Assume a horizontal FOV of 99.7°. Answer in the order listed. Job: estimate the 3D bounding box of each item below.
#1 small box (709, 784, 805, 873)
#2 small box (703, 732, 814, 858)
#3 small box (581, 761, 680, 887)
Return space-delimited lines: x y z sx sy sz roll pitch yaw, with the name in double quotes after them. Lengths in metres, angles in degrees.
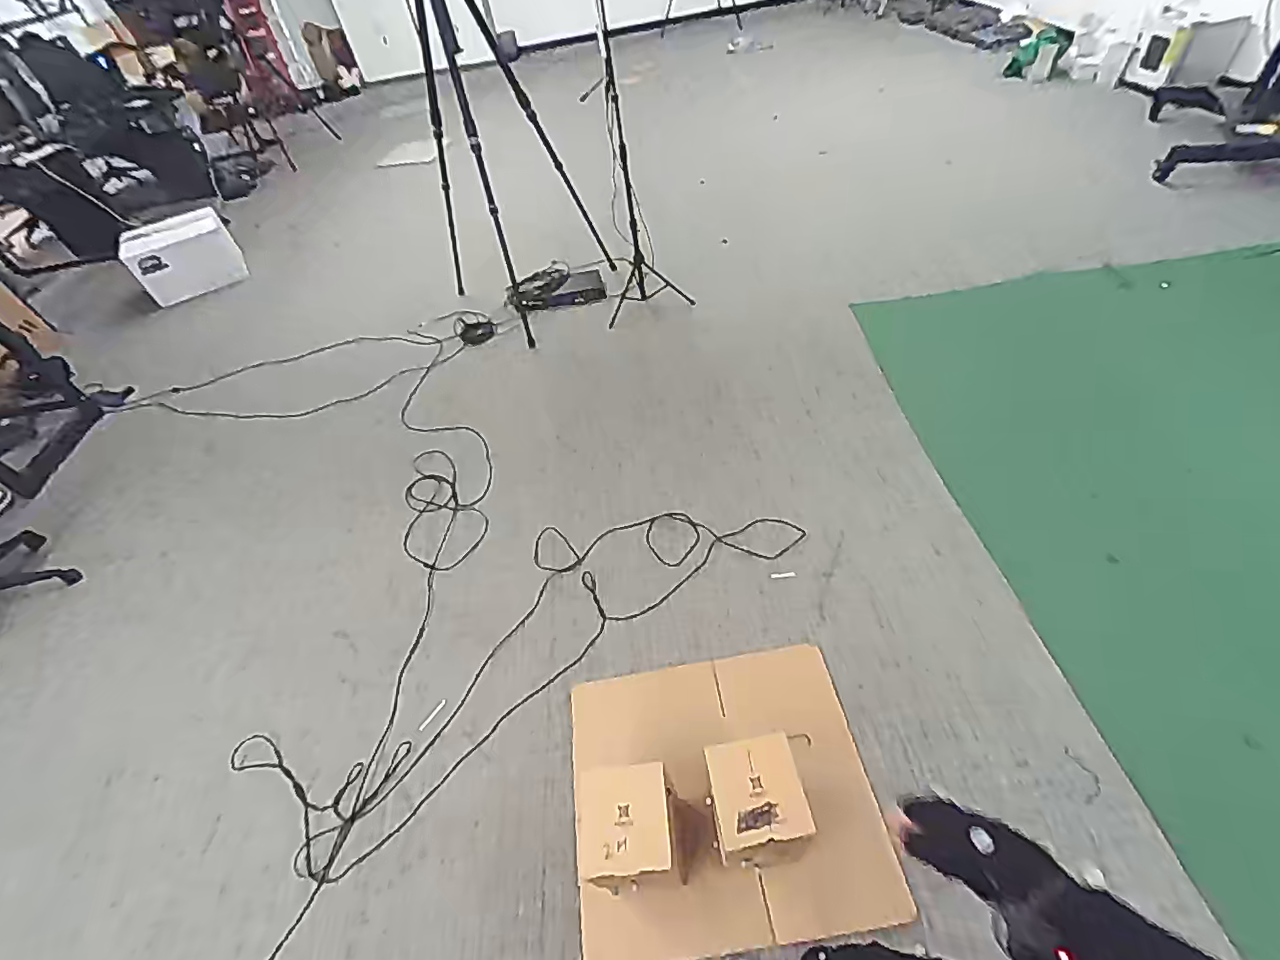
0.245 0.732 1.181 0.168 0.176 0.179 -11 49 0 "small box"
0.226 0.623 1.060 0.168 0.176 0.179 -11 48 0 "small box"
-0.018 0.674 1.055 0.168 0.176 0.179 -9 48 4 "small box"
